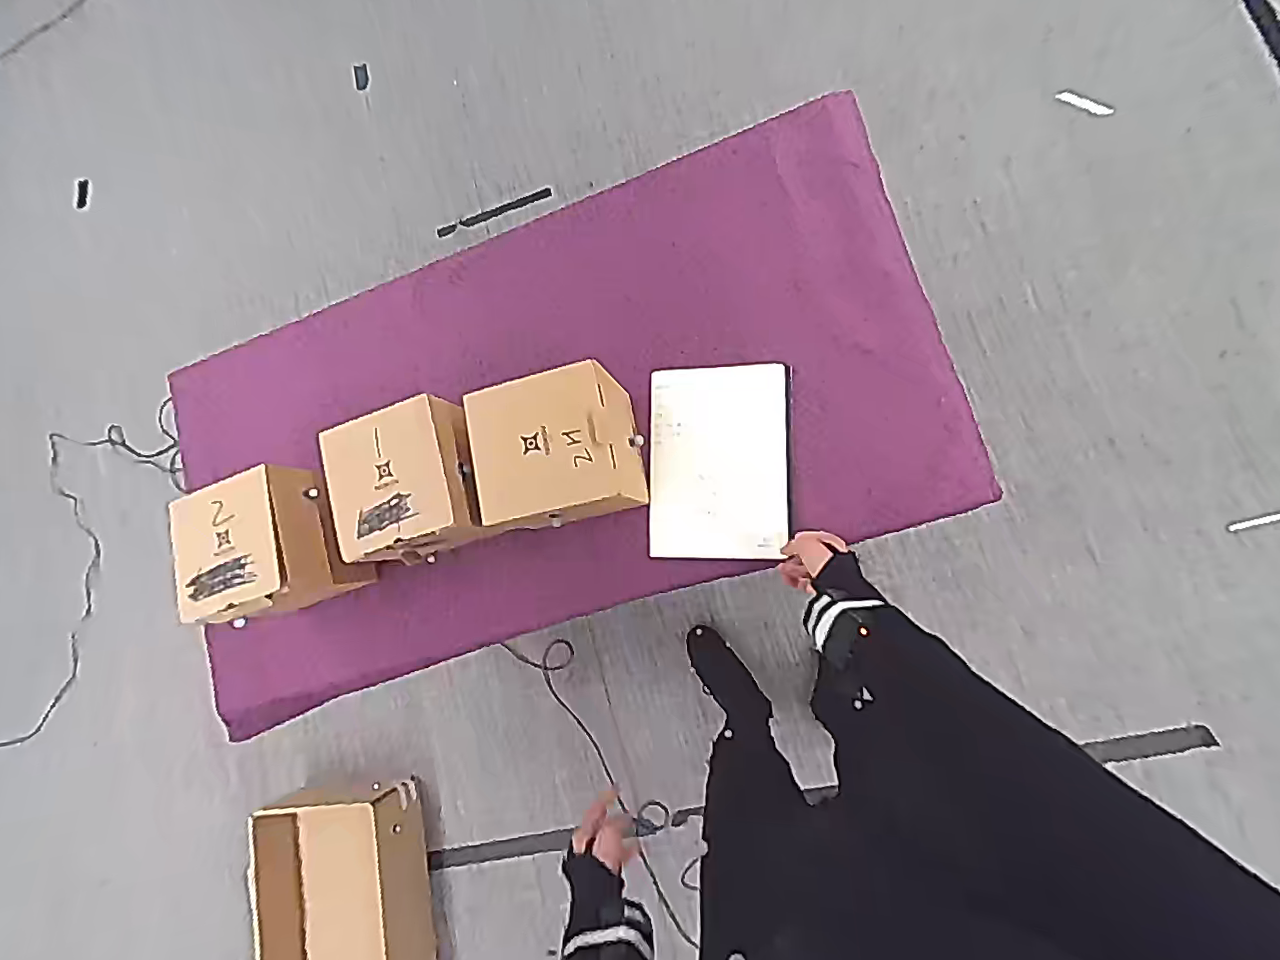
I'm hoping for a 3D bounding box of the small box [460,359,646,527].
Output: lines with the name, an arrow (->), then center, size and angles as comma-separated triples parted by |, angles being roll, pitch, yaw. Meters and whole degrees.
small box -> -0.105, -0.035, 0.708 | 0.179, 0.176, 0.168 | -13, 81, 11
